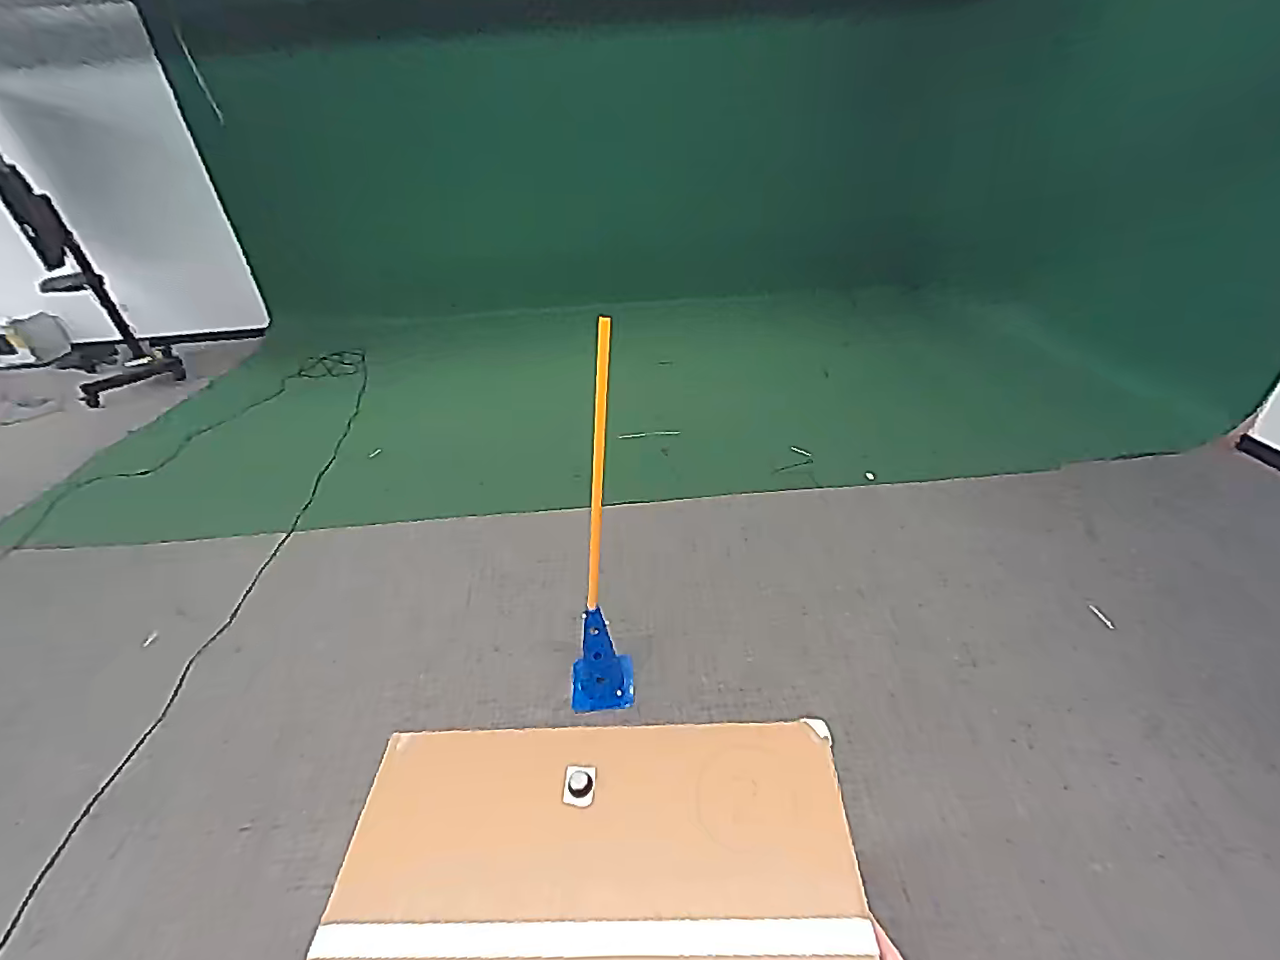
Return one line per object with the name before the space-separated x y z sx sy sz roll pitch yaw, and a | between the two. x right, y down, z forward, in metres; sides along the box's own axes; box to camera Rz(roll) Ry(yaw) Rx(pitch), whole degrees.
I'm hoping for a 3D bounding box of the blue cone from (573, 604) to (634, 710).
blue cone | -0.126 0.517 1.662 0.193 0.380 0.192 -5 34 -4
